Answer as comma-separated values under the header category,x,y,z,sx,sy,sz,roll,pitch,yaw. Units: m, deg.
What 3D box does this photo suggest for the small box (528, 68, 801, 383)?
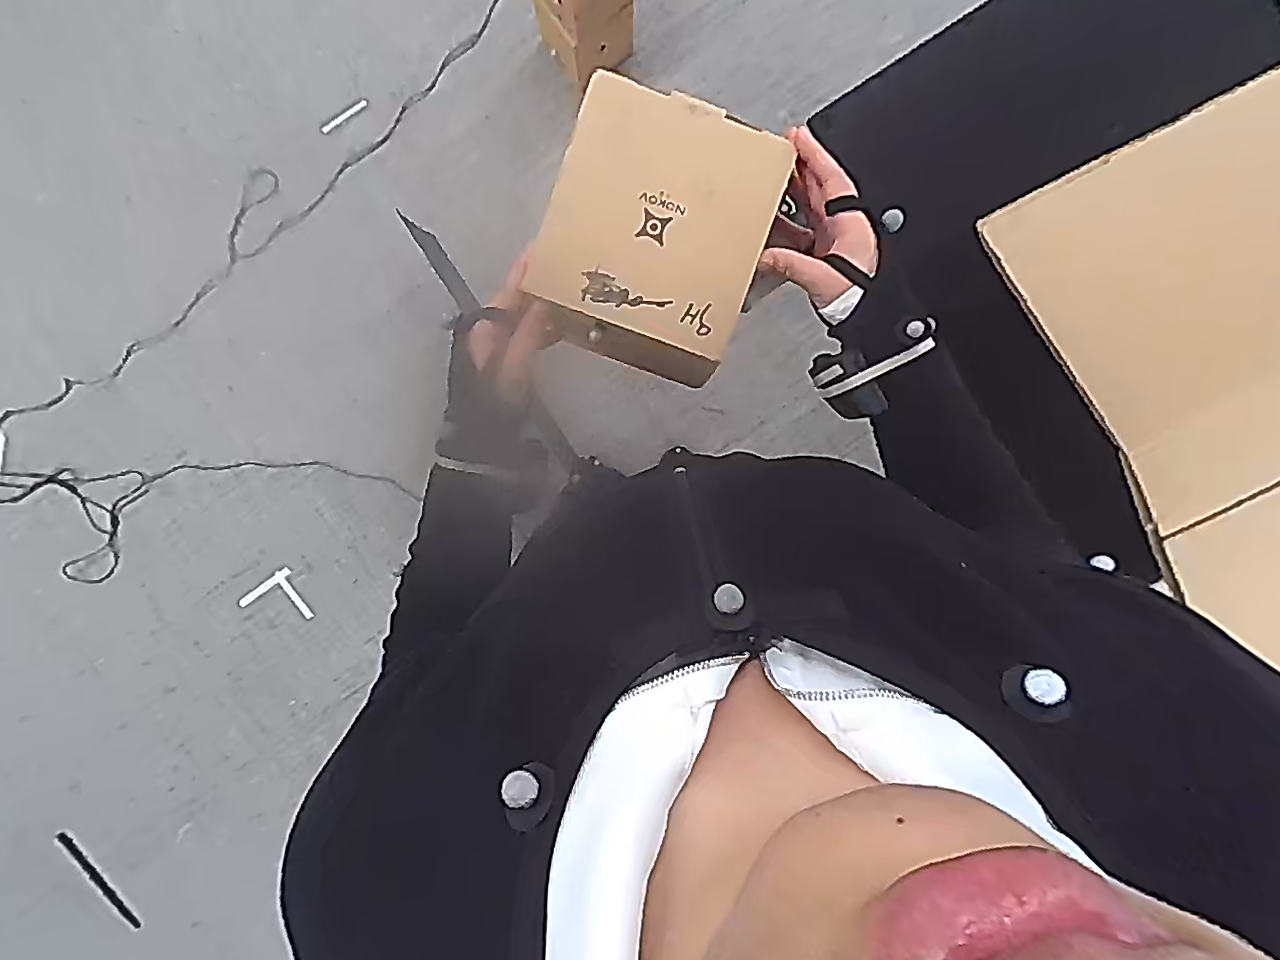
category,x,y,z,sx,sy,sz,roll,pitch,yaw
small box,0.018,-0.205,0.489,0.168,0.176,0.179,20,92,0

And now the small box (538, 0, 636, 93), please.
category,x,y,z,sx,sy,sz,roll,pitch,yaw
small box,-0.127,-1.106,1.313,0.179,0.176,0.168,-36,94,3

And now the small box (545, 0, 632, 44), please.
category,x,y,z,sx,sy,sz,roll,pitch,yaw
small box,-0.121,-1.097,1.151,0.179,0.176,0.168,-40,95,1
